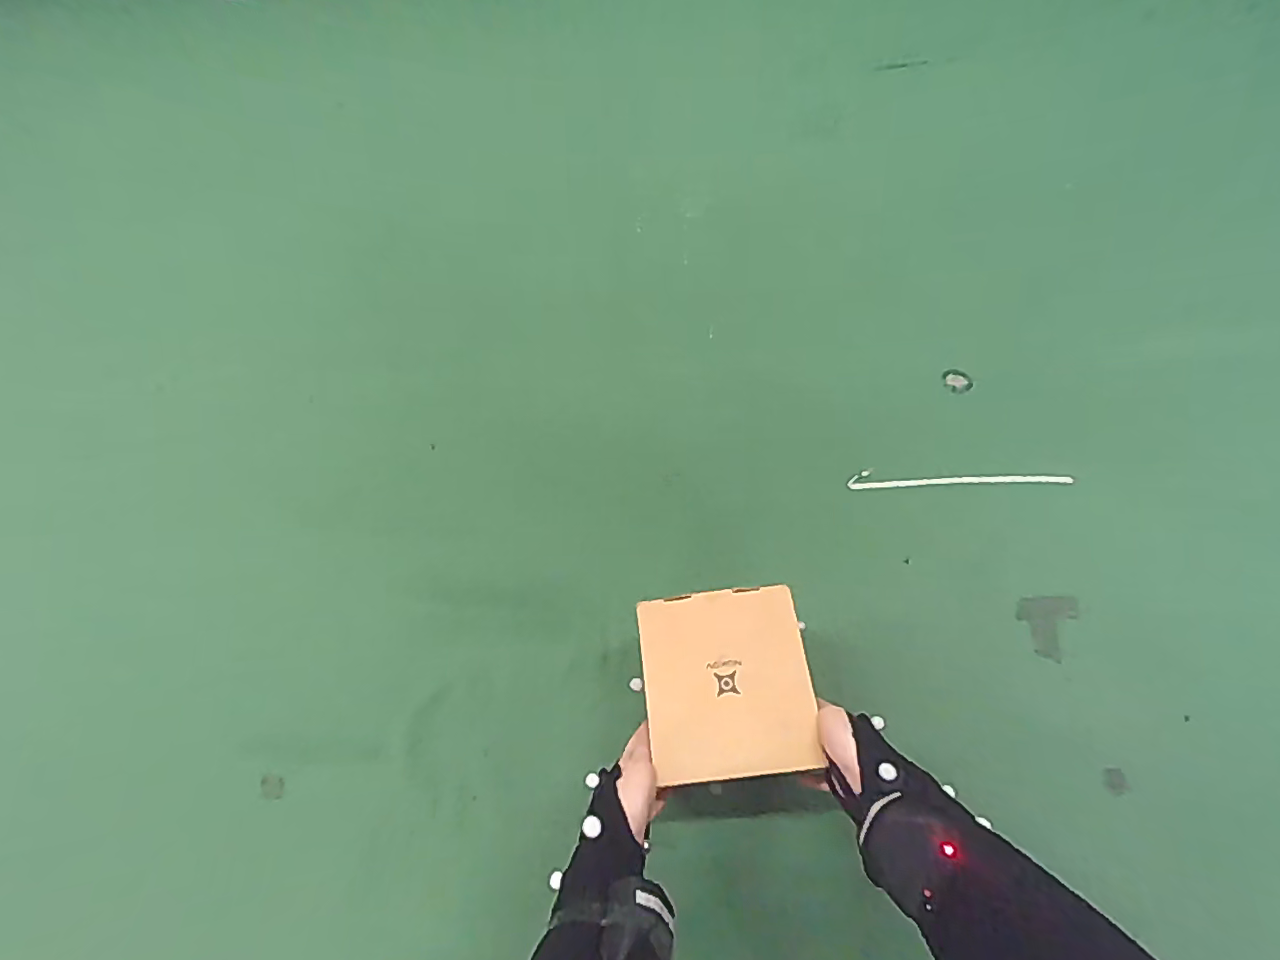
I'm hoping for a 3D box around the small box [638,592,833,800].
[{"bbox_3d":[0.094,0.240,0.598,0.168,0.176,0.179,-8,61,1],"label":"small box"}]
